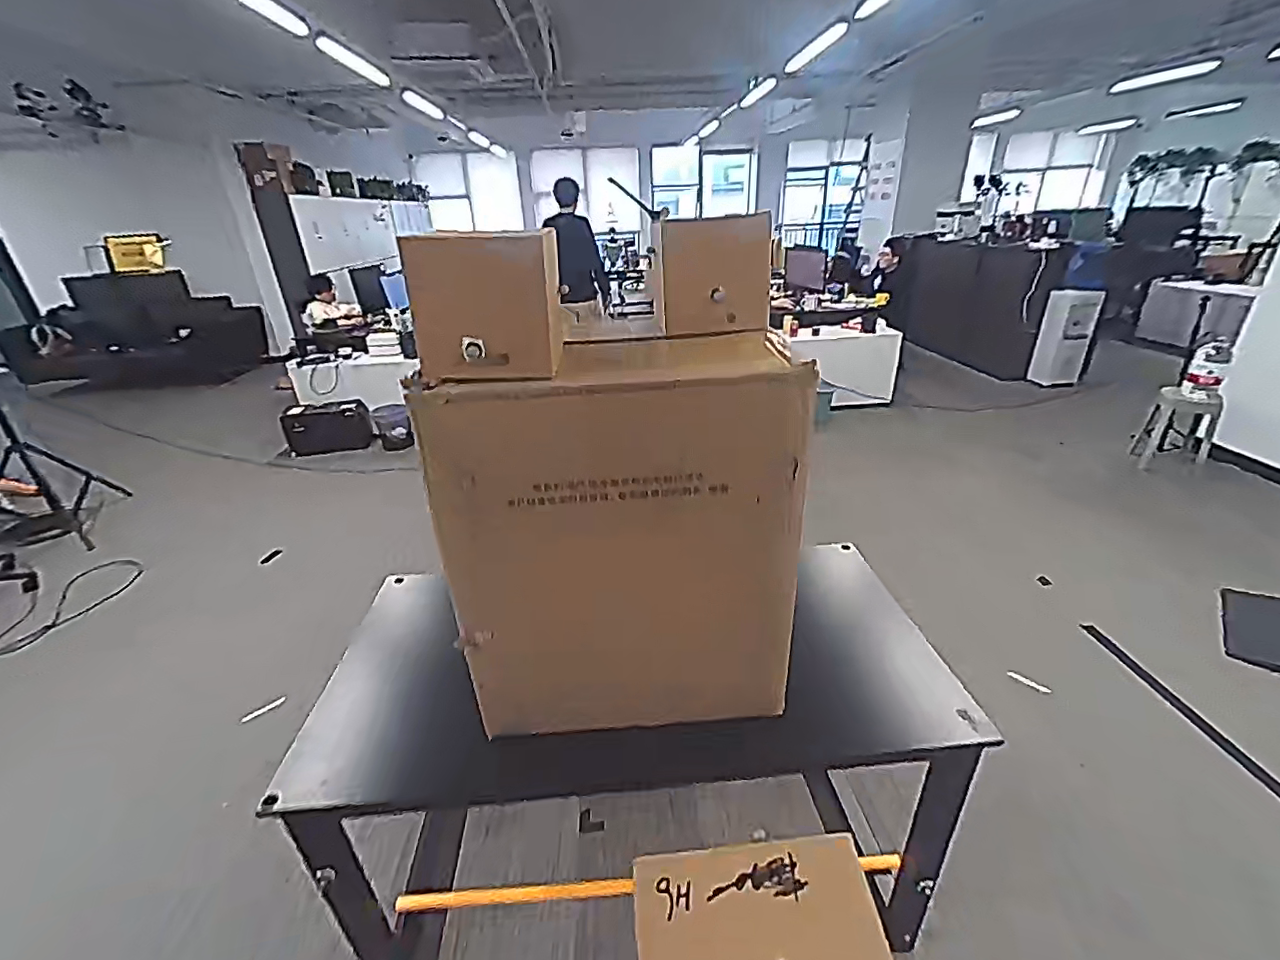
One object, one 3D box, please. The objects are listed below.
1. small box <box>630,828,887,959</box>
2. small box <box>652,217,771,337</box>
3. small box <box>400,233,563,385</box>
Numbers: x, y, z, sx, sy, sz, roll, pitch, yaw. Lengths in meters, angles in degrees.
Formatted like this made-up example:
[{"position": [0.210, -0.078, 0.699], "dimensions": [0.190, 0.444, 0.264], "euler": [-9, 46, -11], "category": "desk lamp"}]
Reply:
[{"position": [0.084, 0.383, 0.393], "dimensions": [0.168, 0.176, 0.179], "euler": [-5, 43, -3], "category": "small box"}, {"position": [0.110, -0.335, 0.895], "dimensions": [0.168, 0.176, 0.179], "euler": [-5, 24, -2], "category": "small box"}, {"position": [-0.192, -0.231, 0.715], "dimensions": [0.168, 0.176, 0.179], "euler": [-3, 28, -3], "category": "small box"}]
